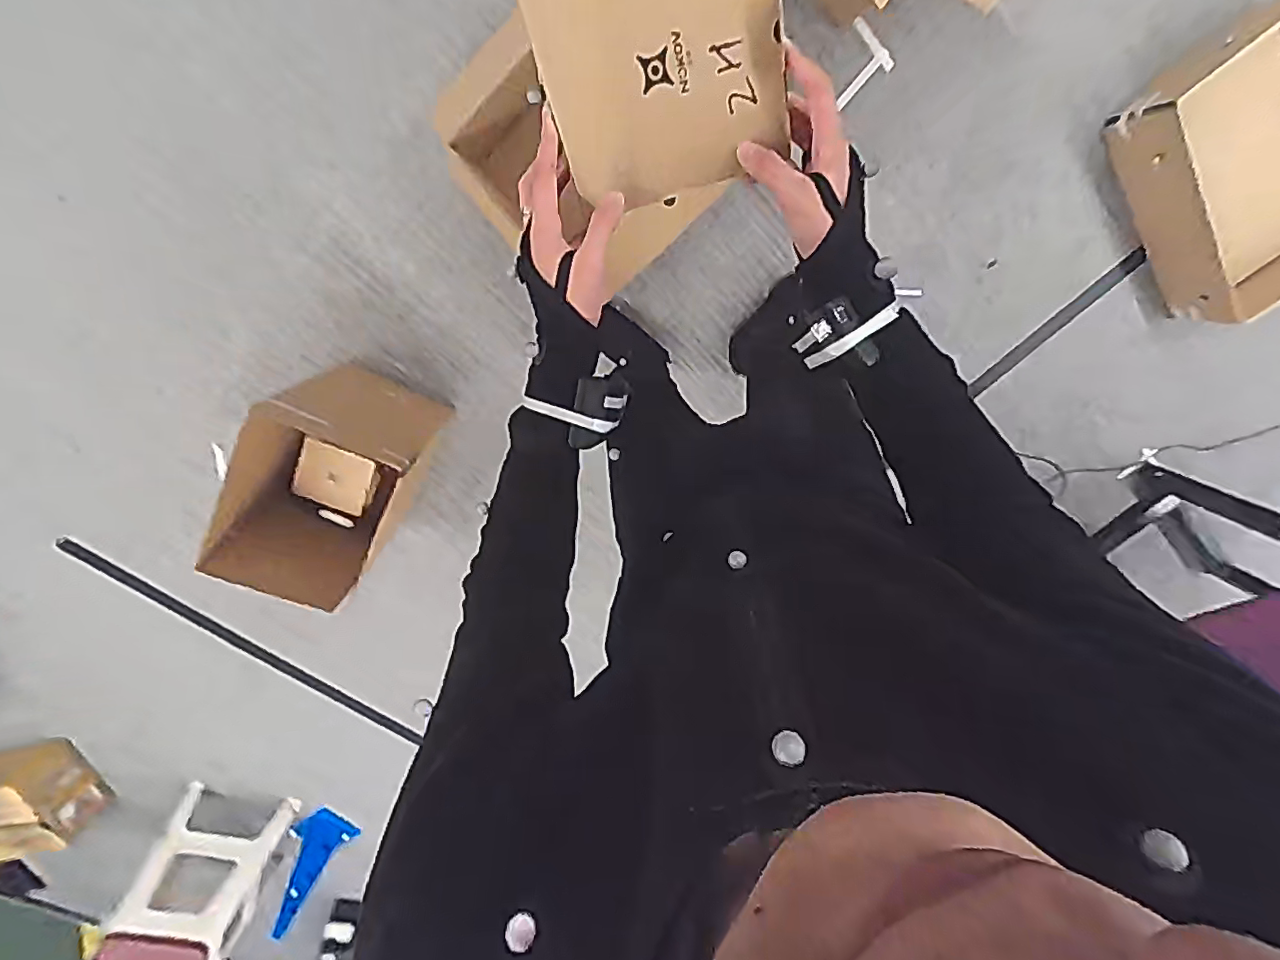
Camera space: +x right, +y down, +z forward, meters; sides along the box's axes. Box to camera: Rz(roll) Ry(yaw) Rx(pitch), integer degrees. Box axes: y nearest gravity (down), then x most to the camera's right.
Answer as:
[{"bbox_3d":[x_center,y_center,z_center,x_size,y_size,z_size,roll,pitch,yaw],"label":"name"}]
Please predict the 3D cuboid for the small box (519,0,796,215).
[{"bbox_3d":[0.008,-0.339,0.435,0.179,0.176,0.168,-17,130,2],"label":"small box"}]
